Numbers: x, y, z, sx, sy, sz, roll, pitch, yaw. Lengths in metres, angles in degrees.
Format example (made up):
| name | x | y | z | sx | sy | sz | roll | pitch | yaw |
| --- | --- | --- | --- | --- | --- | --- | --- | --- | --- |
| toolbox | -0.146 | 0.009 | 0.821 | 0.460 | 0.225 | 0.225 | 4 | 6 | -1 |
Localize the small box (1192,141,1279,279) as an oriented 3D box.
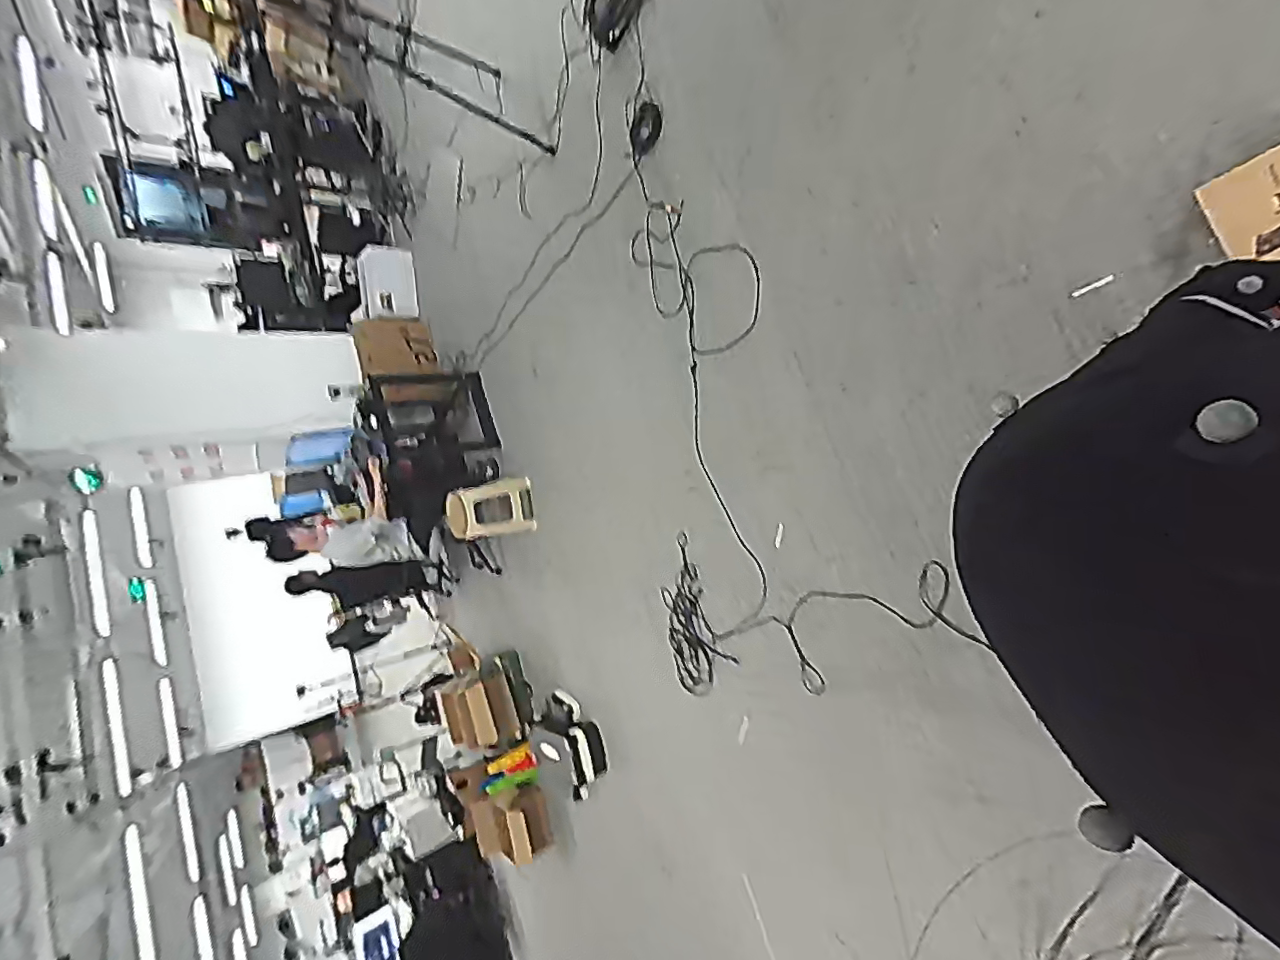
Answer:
| name | x | y | z | sx | sy | sz | roll | pitch | yaw |
| --- | --- | --- | --- | --- | --- | --- | --- | --- | --- |
| small box | 1.068 | -0.450 | 0.888 | 0.168 | 0.176 | 0.179 | -29 | 75 | 51 |
